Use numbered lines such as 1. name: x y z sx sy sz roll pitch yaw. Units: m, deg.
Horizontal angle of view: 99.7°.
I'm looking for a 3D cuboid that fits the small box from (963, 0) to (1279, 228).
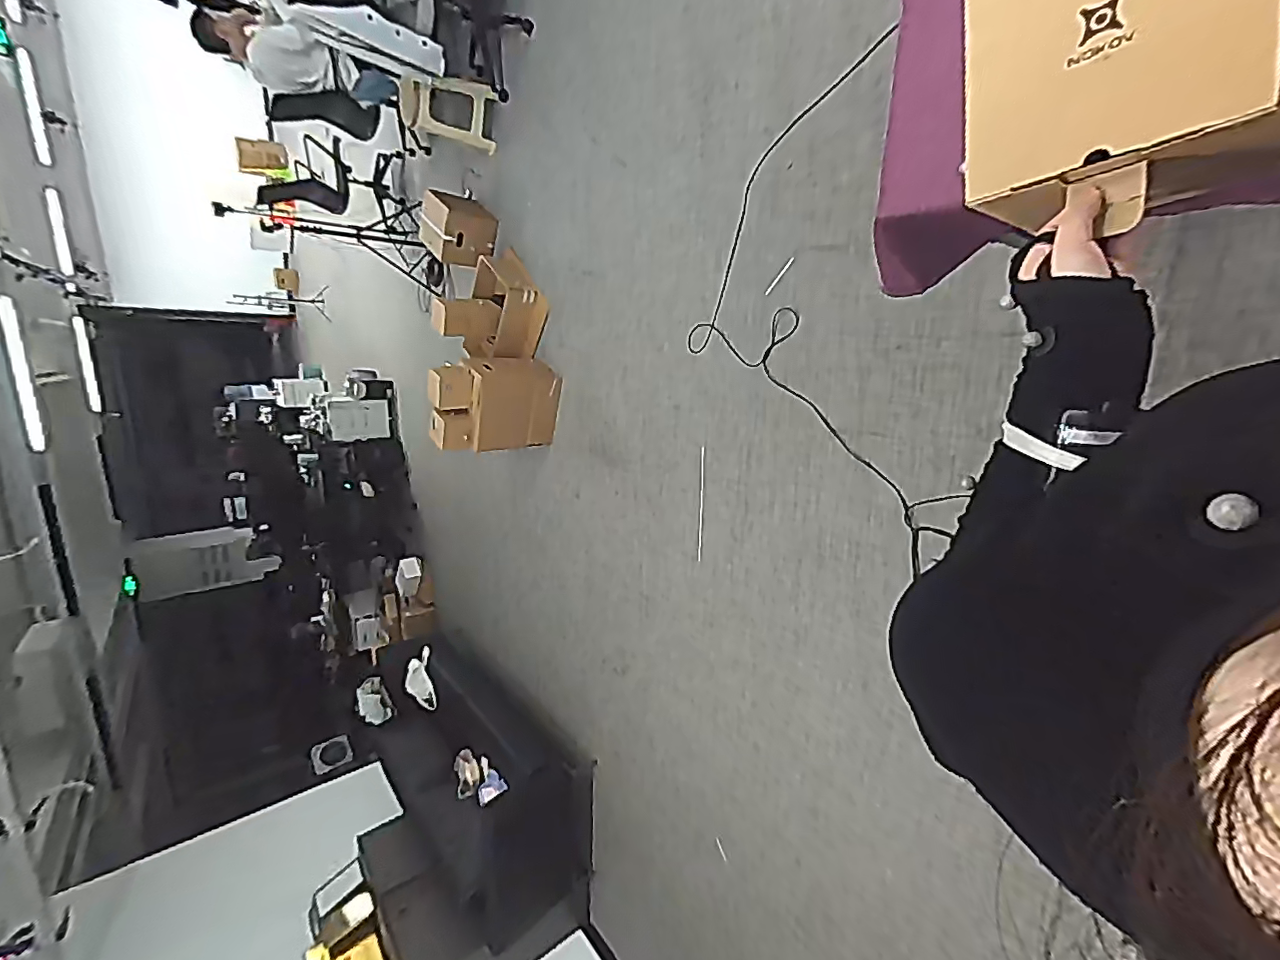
1. small box: 0.378 -0.322 0.428 0.168 0.176 0.179 5 103 51
